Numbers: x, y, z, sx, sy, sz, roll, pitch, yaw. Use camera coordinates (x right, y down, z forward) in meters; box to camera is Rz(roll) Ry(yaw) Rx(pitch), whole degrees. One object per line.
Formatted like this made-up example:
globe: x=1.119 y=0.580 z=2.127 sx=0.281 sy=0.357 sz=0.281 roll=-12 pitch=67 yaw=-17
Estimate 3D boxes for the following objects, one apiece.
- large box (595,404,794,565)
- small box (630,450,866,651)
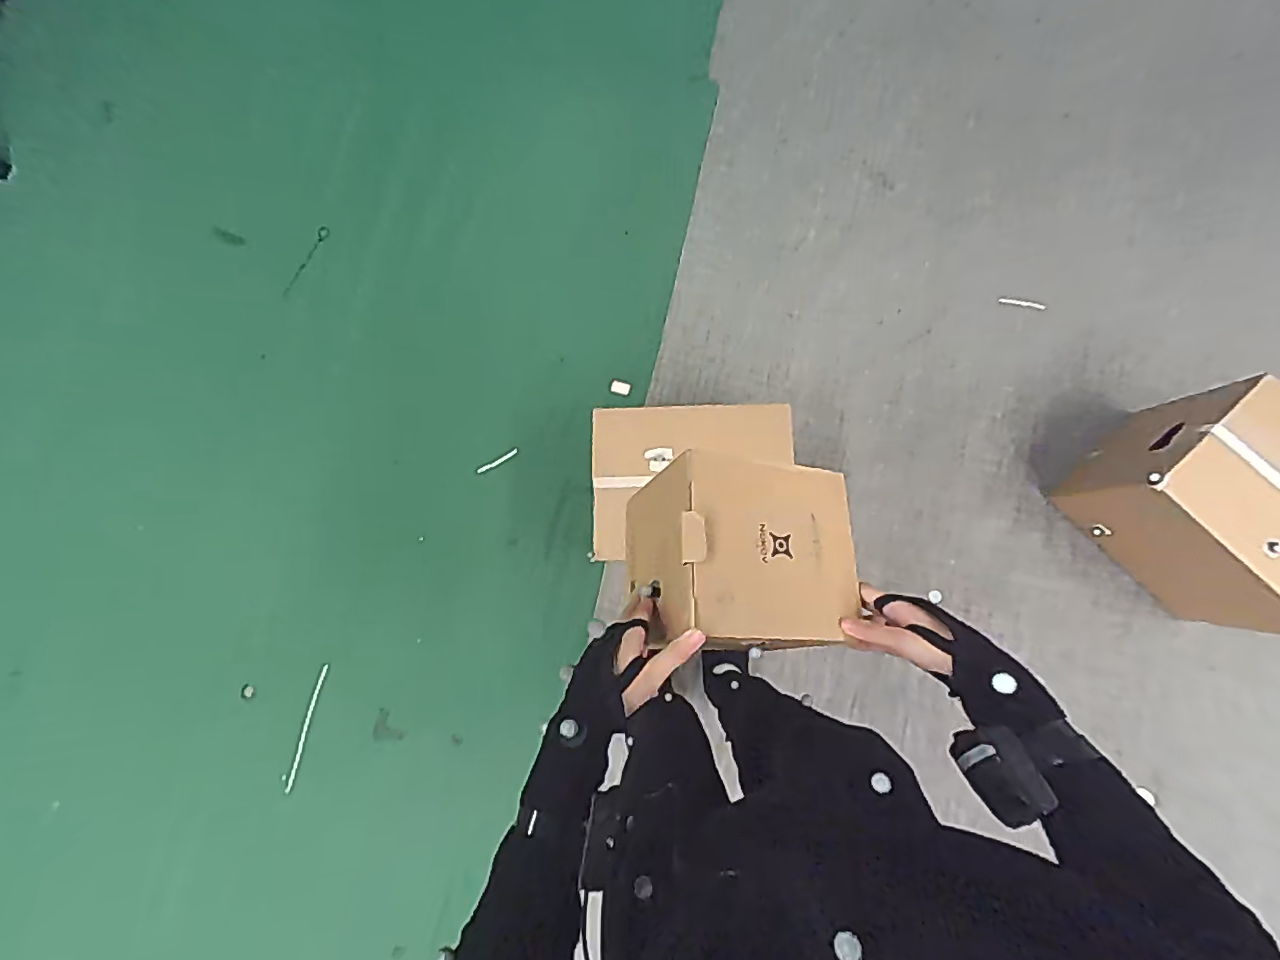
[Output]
large box: x=0.125 y=0.026 z=1.223 sx=0.408 sy=0.320 sz=0.320 roll=-2 pitch=82 yaw=6
small box: x=0.095 y=0.085 z=0.556 sx=0.179 sy=0.176 sz=0.168 roll=8 pitch=69 yaw=-18
